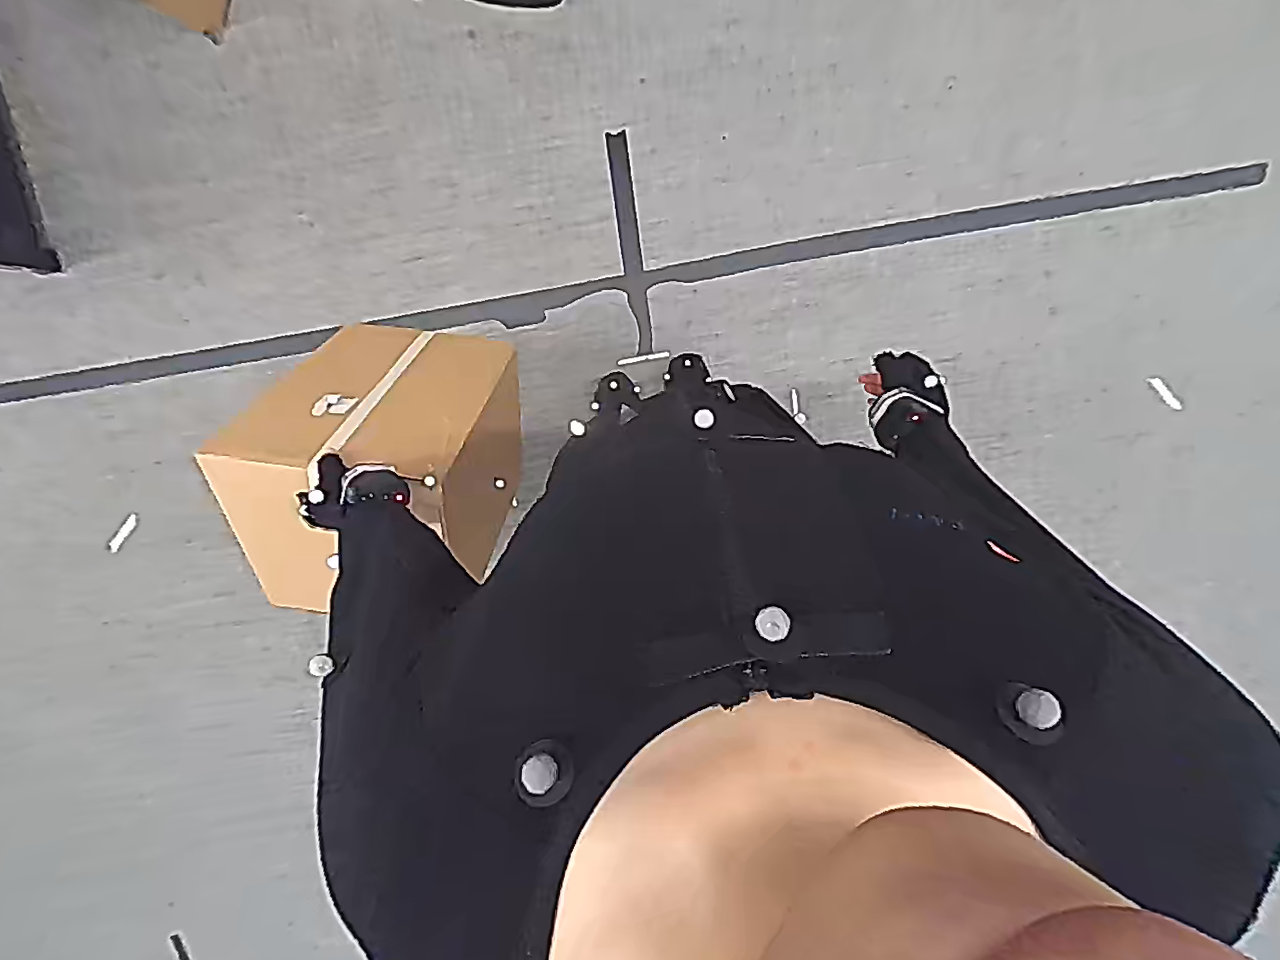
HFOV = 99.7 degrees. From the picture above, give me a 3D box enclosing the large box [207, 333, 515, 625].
[{"bbox_3d":[-0.416,-0.015,0.946,0.320,0.408,0.320,6,130,0],"label":"large box"}]
